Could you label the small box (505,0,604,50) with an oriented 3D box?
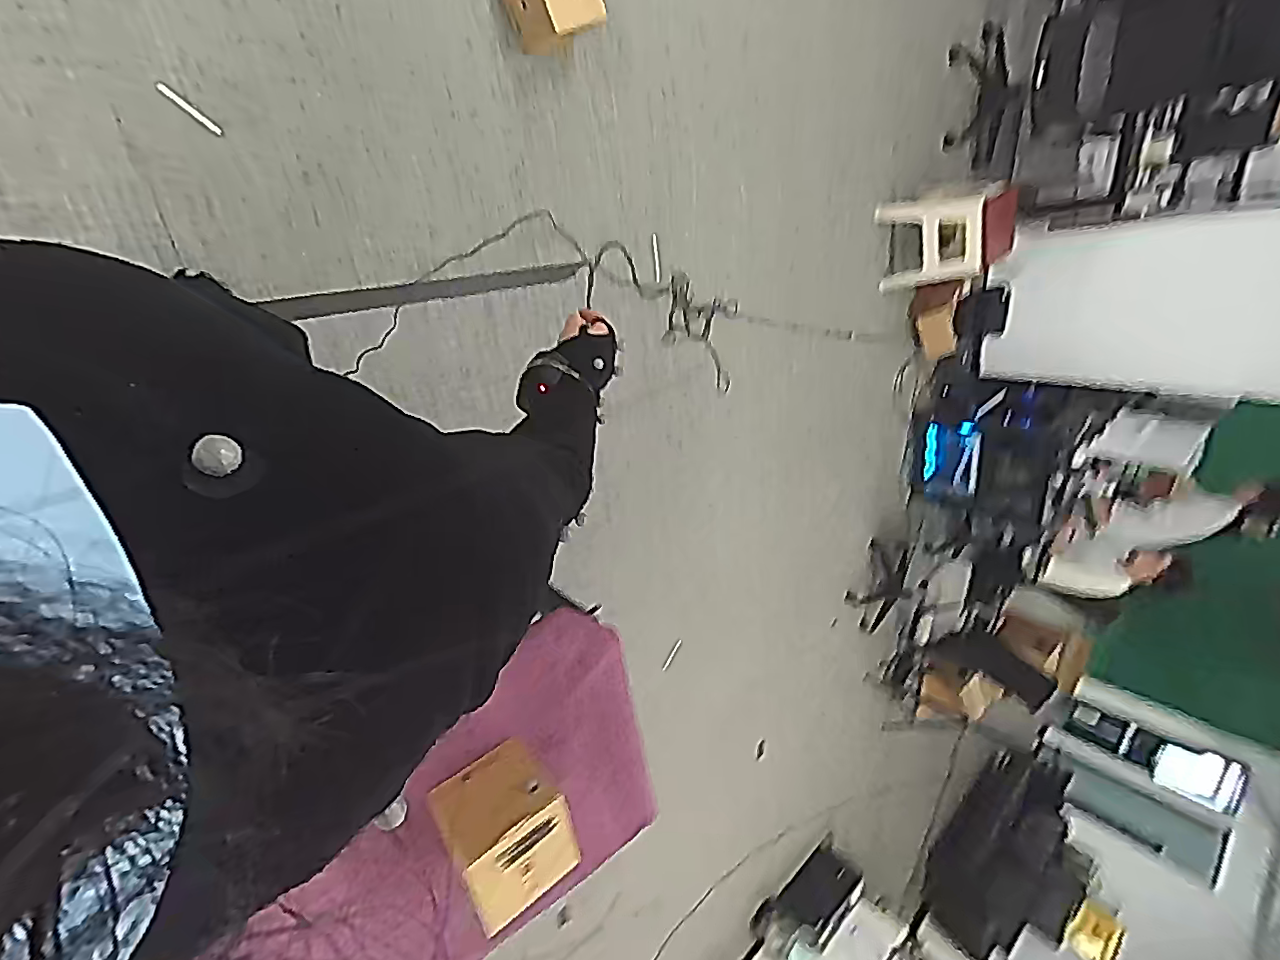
[{"bbox_3d":[-0.228,-1.219,1.355,0.179,0.176,0.168,-40,125,-25],"label":"small box"}]
